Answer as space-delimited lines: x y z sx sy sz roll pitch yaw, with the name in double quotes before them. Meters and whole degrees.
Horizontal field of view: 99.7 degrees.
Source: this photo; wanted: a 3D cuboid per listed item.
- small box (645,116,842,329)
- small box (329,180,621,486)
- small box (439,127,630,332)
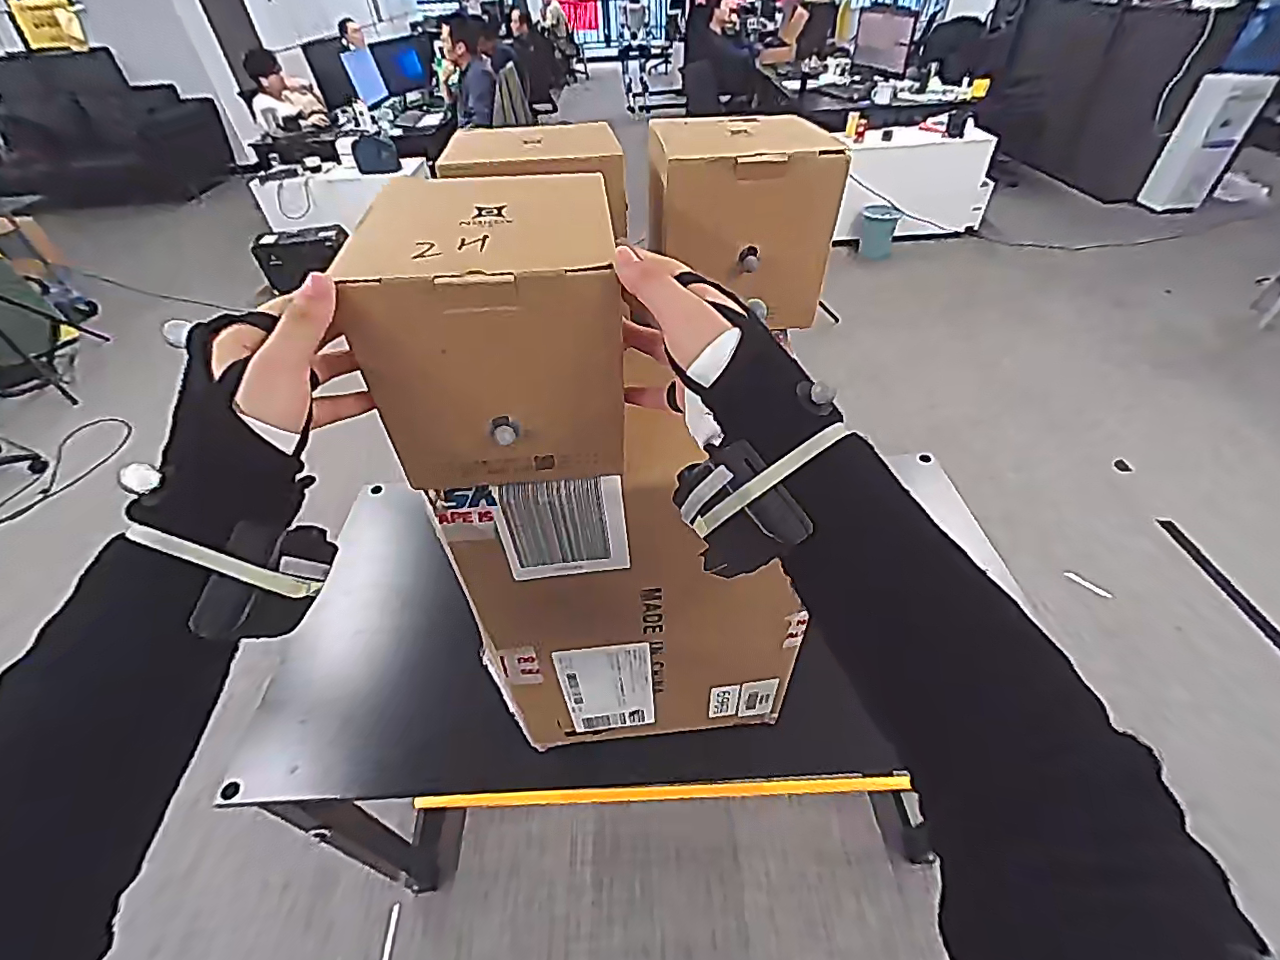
"small box" 0.094 -0.276 0.587 0.168 0.176 0.179 -3 44 -3
"small box" -0.104 -0.117 0.425 0.168 0.176 0.179 -5 45 -3
"small box" -0.105 -0.270 0.591 0.168 0.176 0.179 -8 43 -5
